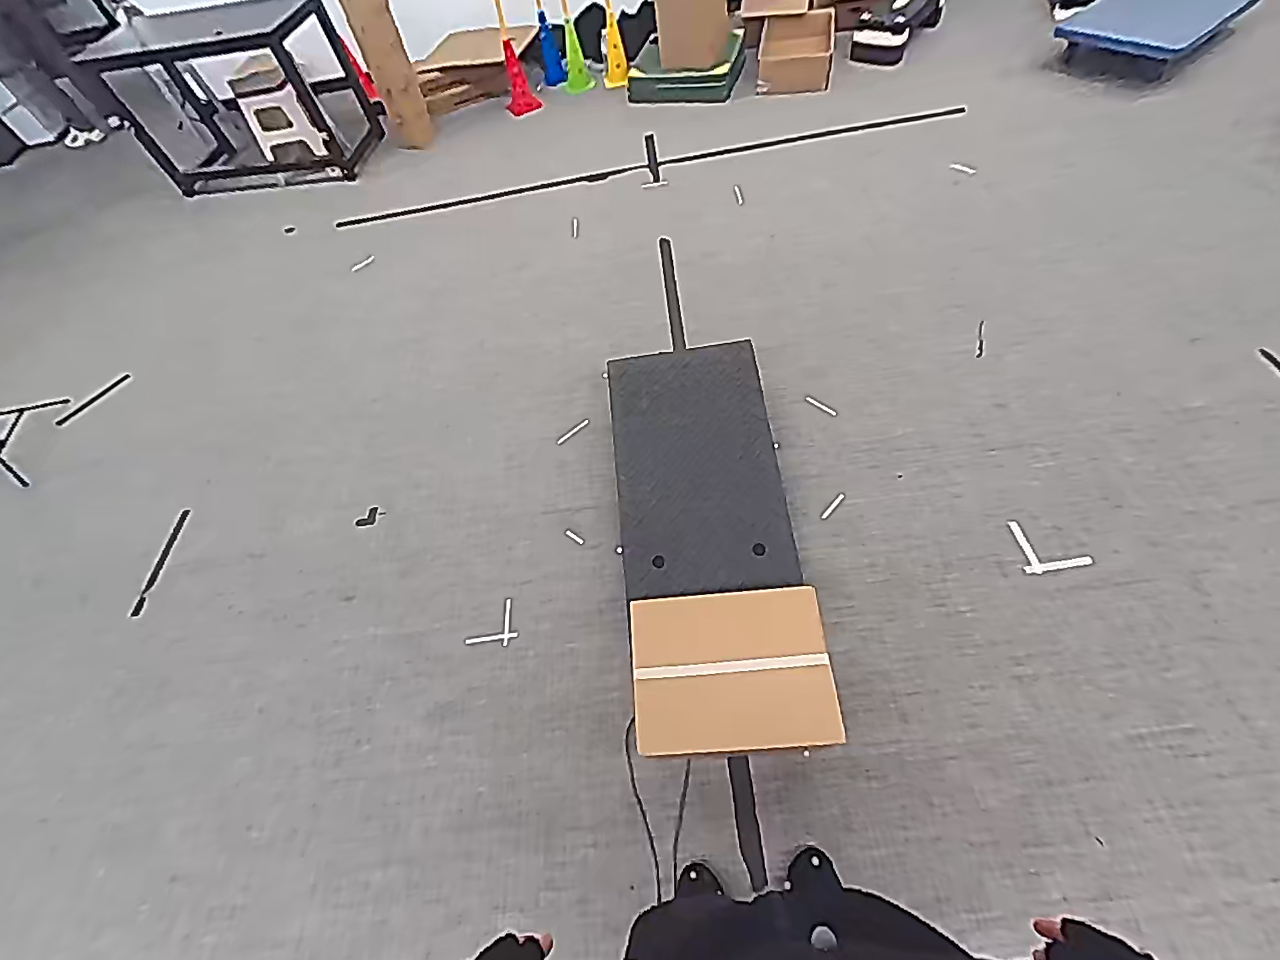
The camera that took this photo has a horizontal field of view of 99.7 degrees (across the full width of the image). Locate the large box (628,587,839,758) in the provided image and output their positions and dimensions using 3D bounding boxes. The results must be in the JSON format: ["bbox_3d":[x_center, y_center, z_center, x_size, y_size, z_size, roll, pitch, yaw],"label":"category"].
[{"bbox_3d":[0.198,0.459,1.255,0.408,0.320,0.320,-6,60,4],"label":"large box"}]

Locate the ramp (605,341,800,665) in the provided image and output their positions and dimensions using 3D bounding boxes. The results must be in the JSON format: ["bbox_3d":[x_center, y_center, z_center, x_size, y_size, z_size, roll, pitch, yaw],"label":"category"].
[{"bbox_3d":[0.169,0.022,1.626,0.509,0.206,0.991,-8,57,2],"label":"ramp"}]
